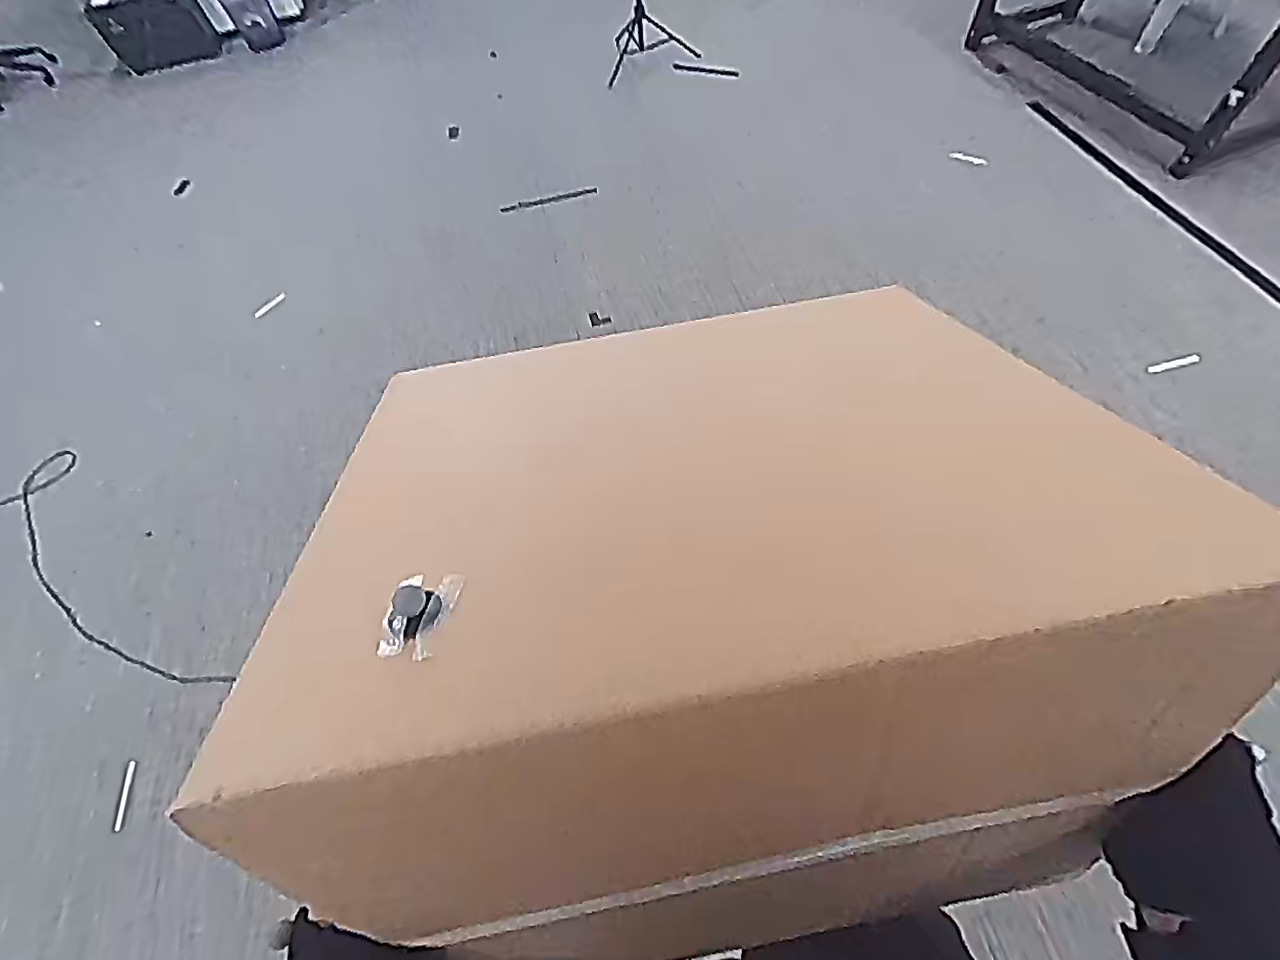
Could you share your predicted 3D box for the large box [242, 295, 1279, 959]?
[{"bbox_3d":[0.050,0.091,0.402,0.408,0.320,0.320,-11,38,-1],"label":"large box"}]
